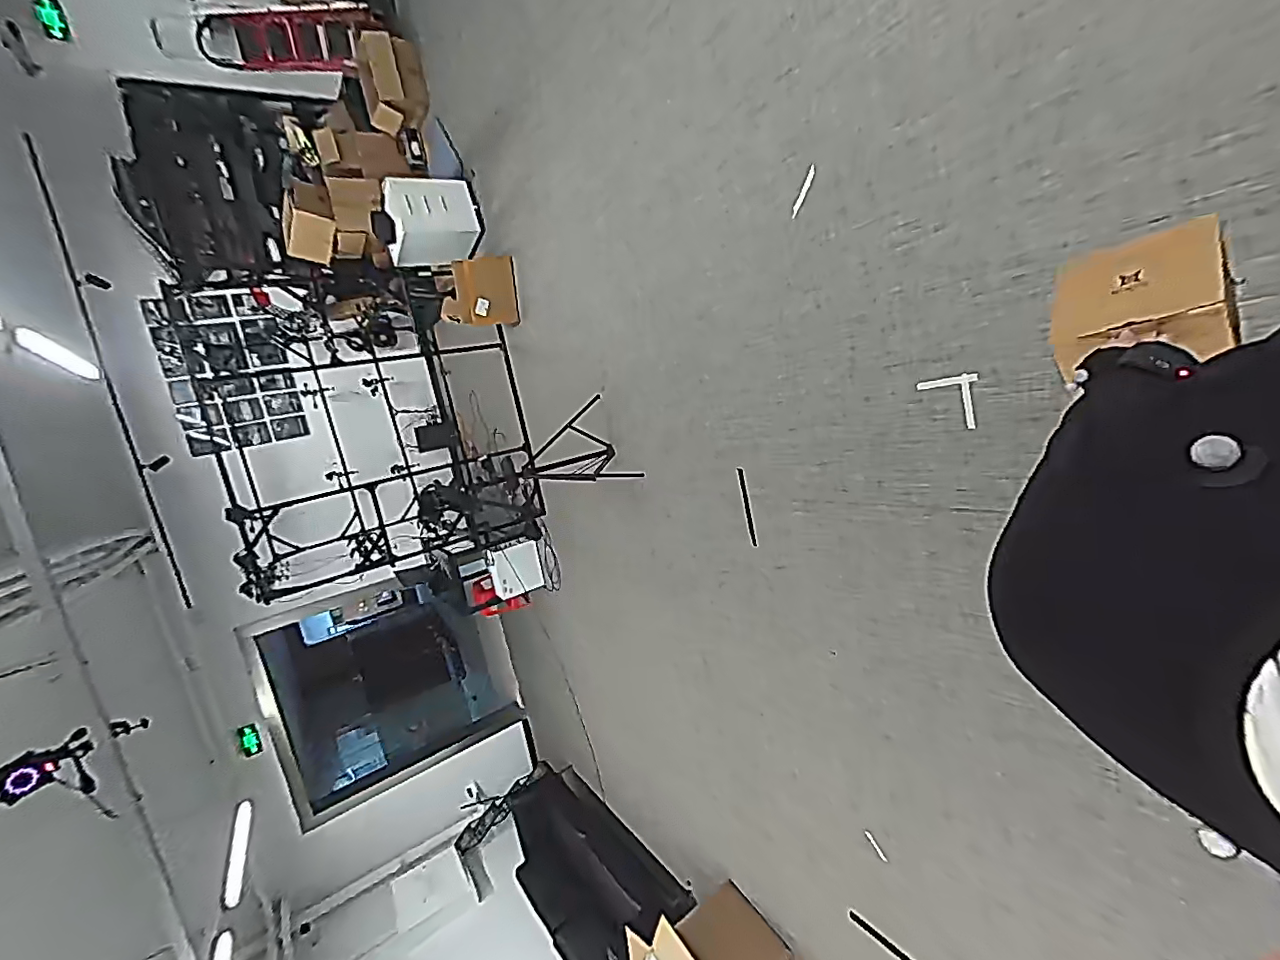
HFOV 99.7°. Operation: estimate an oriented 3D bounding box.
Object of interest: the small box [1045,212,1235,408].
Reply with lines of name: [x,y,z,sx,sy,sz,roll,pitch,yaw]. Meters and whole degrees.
small box: [0.689,-0.217,0.747,0.176,0.179,0.168,42,151,-29]
